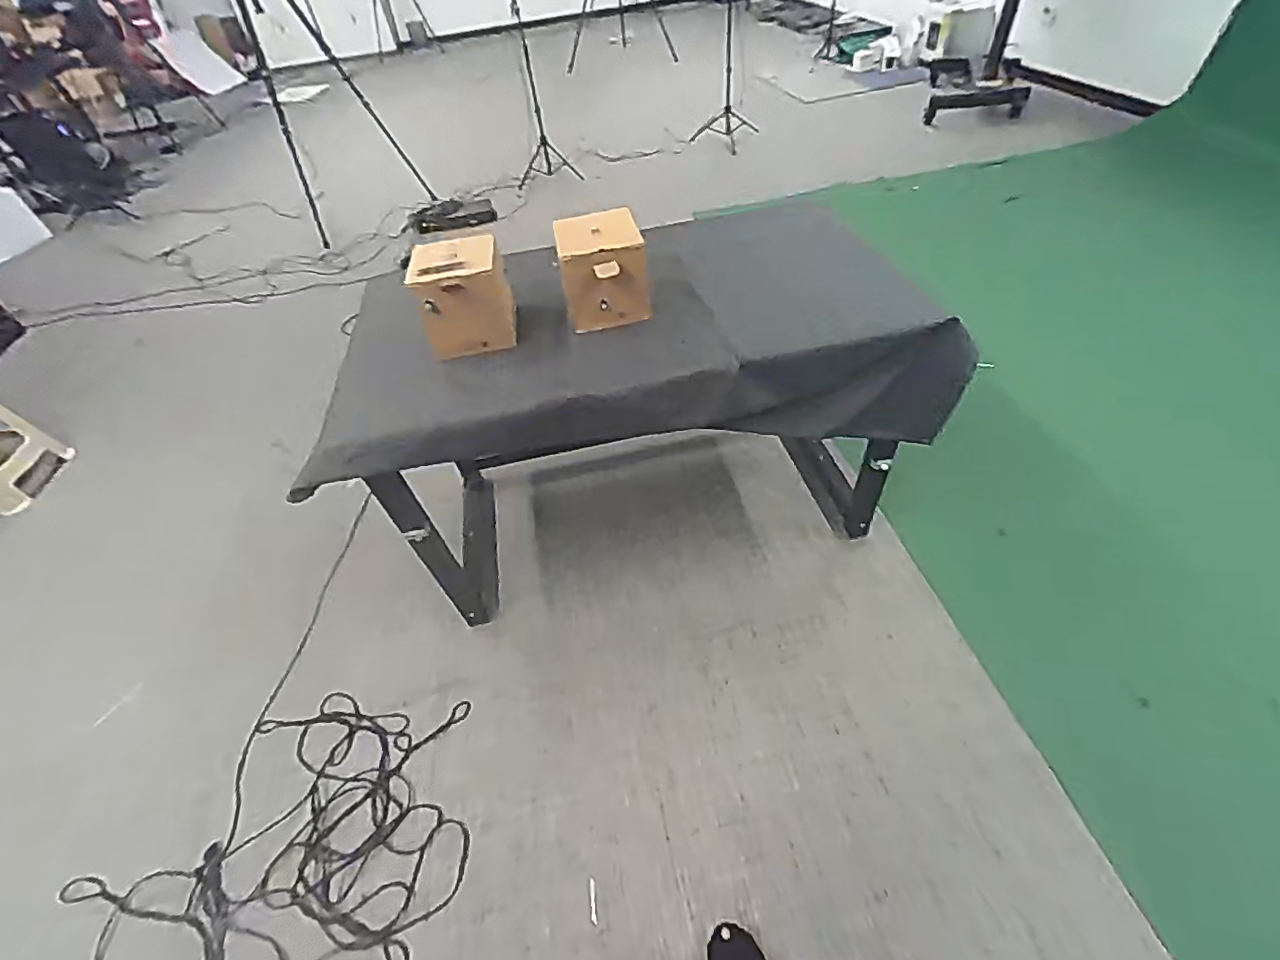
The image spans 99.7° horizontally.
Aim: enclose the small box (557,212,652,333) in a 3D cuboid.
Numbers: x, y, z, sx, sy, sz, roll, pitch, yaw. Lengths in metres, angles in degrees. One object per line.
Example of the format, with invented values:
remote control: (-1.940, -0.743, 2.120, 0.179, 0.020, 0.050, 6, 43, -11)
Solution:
small box: (-0.073, -0.433, 1.133, 0.168, 0.176, 0.179, -12, 48, -4)
